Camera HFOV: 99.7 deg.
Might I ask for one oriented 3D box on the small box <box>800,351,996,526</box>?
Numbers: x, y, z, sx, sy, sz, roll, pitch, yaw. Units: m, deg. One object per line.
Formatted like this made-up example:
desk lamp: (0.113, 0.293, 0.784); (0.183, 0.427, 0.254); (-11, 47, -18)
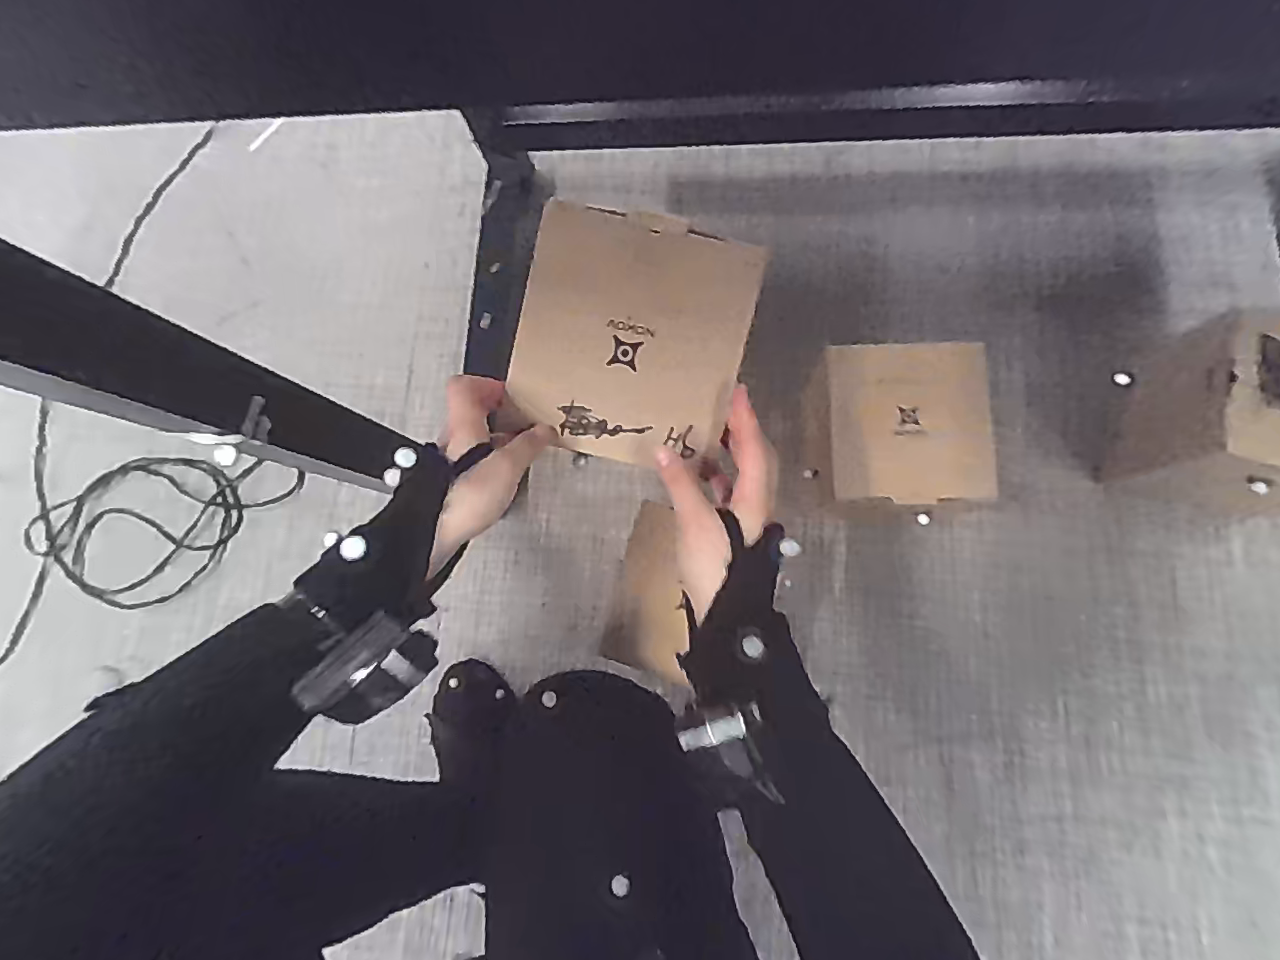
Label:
small box: (0.292, -0.039, 0.650); (0.168, 0.176, 0.179); (0, 78, 6)

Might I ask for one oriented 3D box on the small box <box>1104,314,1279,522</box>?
small box: (0.677, -0.056, 0.606); (0.179, 0.176, 0.168); (15, 81, 8)
